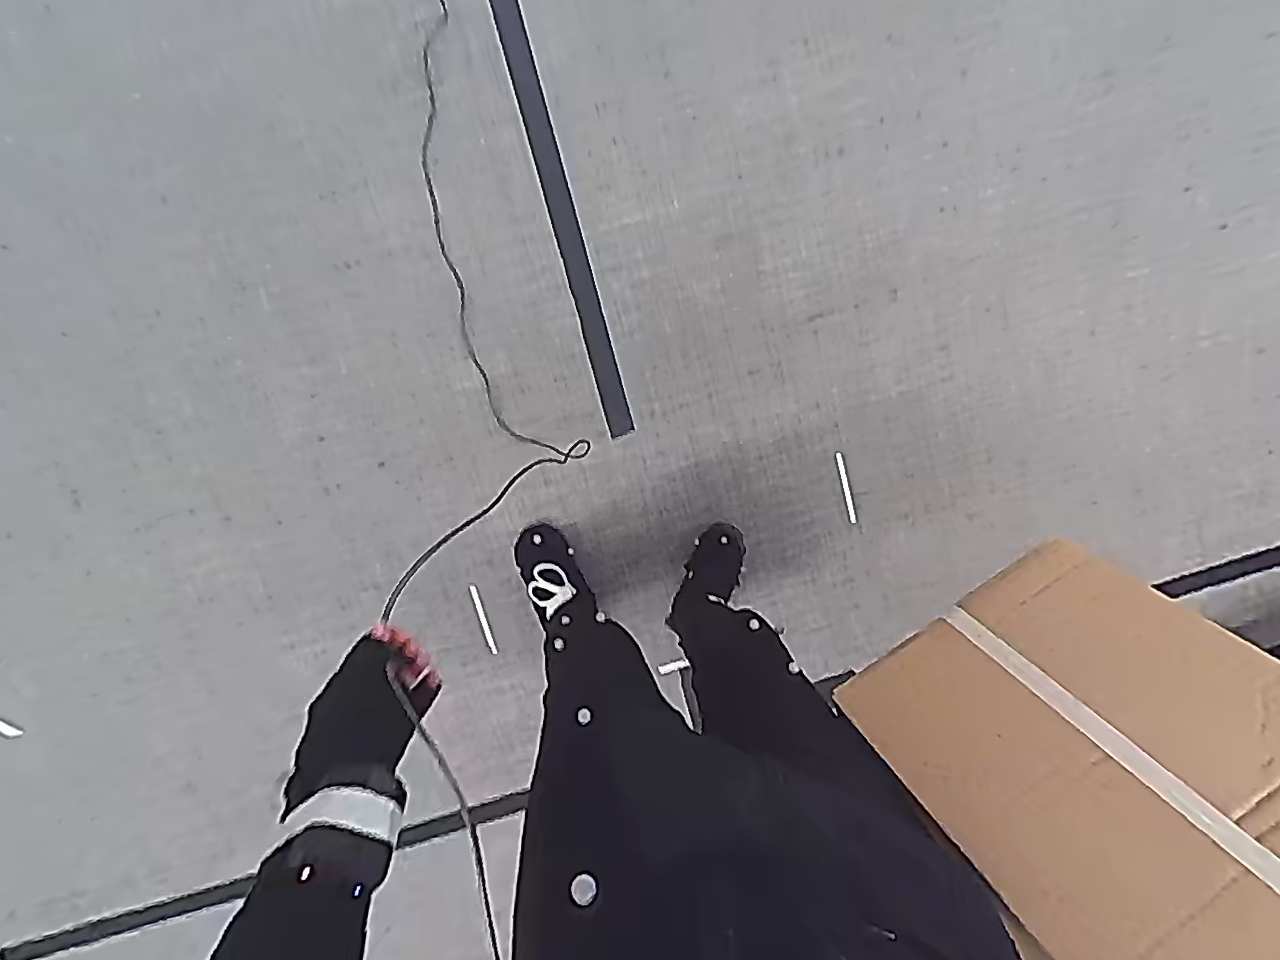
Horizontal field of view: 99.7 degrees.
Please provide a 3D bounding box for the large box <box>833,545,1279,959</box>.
[{"bbox_3d":[0.459,0.346,0.523,0.320,0.408,0.320,-33,129,-5],"label":"large box"}]
